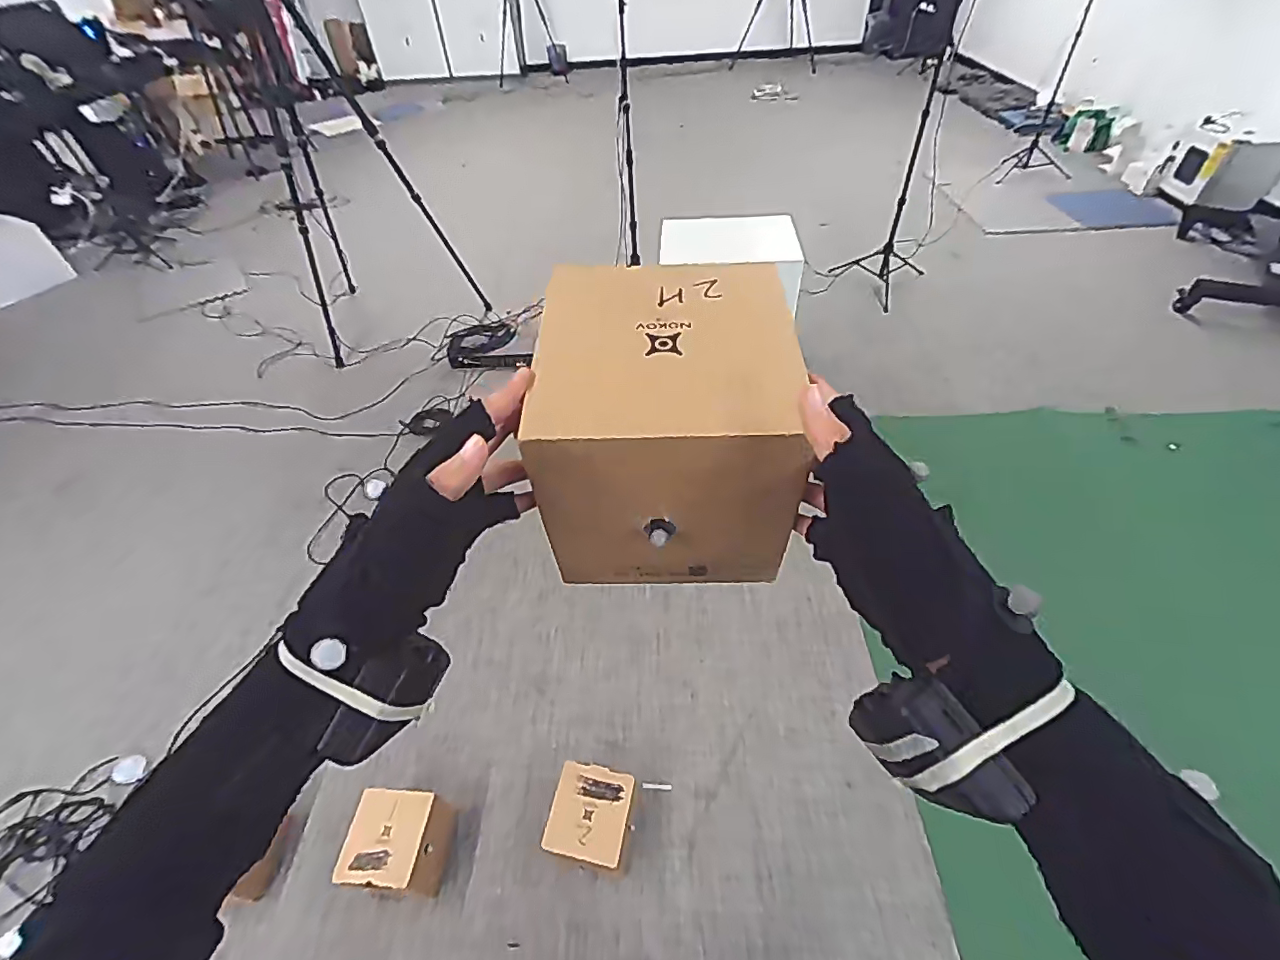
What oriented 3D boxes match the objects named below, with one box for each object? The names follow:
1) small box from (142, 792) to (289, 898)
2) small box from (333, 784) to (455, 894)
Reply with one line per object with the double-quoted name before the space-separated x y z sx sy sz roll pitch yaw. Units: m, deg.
"small box" -0.935 0.823 1.217 0.168 0.176 0.179 -3 47 2
"small box" -0.533 0.802 1.204 0.168 0.176 0.179 1 47 6
